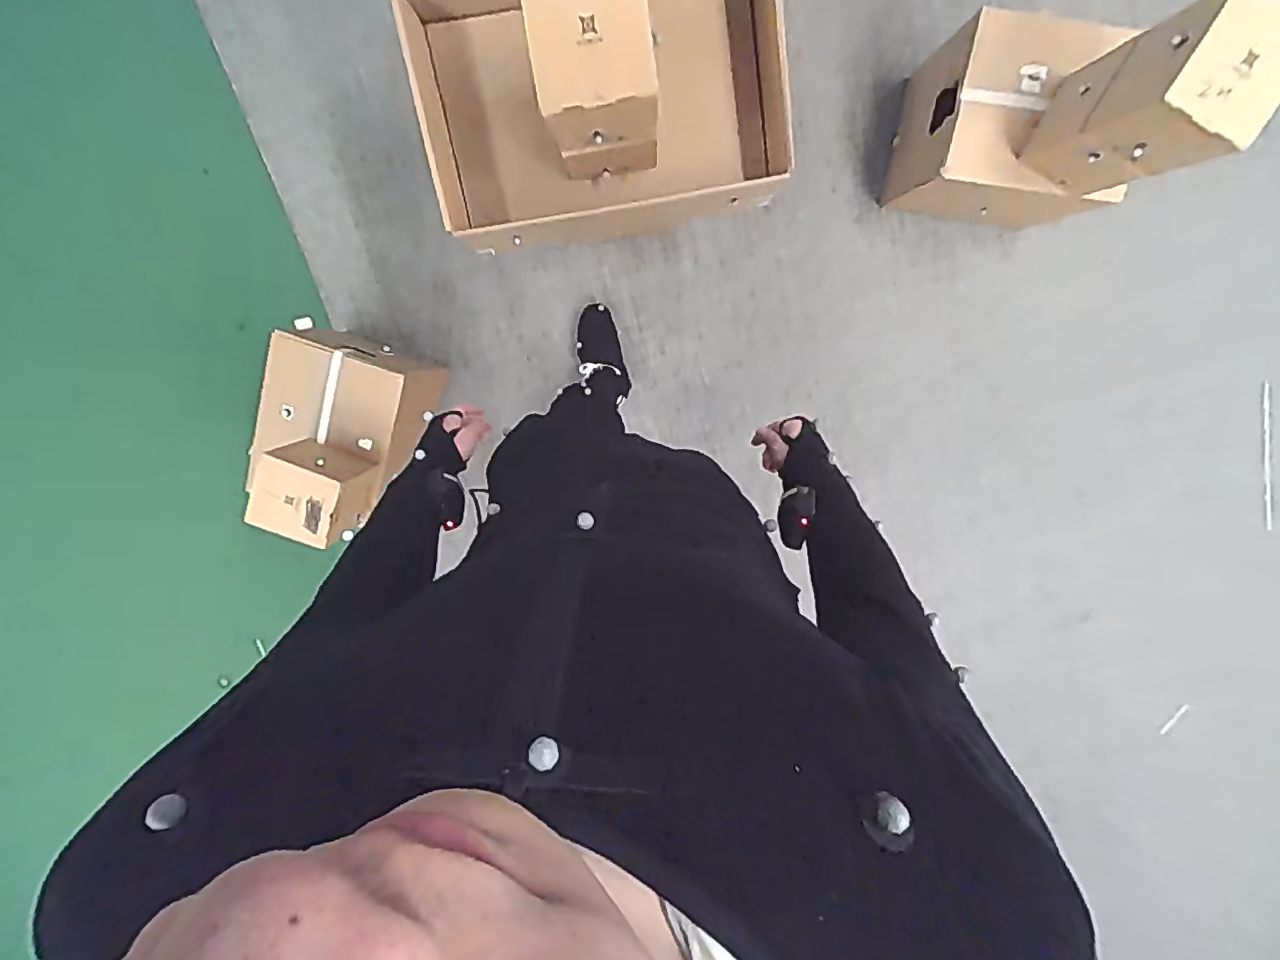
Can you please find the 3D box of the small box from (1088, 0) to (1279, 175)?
[{"bbox_3d":[0.904,-0.641,0.886,0.168,0.176,0.179,25,105,-7],"label":"small box"}]

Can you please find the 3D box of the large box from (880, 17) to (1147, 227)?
[{"bbox_3d":[0.852,-0.801,1.268,0.408,0.320,0.320,7,104,-1],"label":"large box"}]

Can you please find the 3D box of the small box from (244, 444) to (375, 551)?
[{"bbox_3d":[-0.731,0.031,1.214,0.179,0.176,0.168,22,102,-6],"label":"small box"}]

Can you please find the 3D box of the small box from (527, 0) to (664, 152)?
[{"bbox_3d":[-0.061,-0.607,0.782,0.168,0.176,0.179,-8,106,3],"label":"small box"}]

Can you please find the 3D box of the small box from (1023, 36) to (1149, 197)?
[{"bbox_3d":[0.900,-0.686,1.045,0.168,0.176,0.179,26,104,-7],"label":"small box"}]
